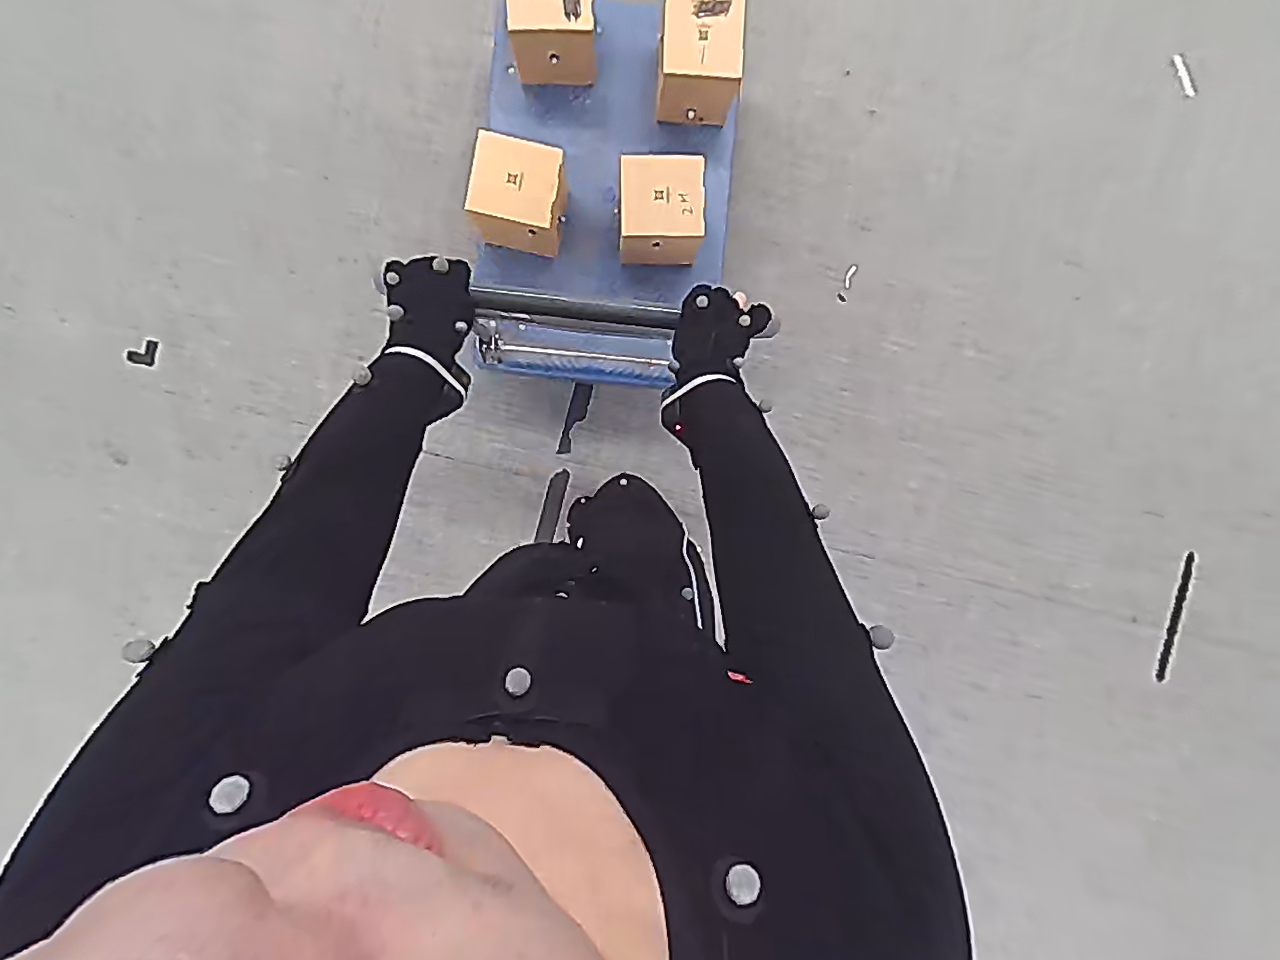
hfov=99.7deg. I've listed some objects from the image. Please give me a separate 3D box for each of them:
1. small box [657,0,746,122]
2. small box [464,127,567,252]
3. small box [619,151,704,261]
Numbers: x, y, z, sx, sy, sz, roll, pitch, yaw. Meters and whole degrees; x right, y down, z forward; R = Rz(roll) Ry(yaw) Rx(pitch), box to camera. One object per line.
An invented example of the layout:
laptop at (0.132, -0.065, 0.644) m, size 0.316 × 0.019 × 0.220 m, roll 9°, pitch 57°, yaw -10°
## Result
small box at (0.126, -0.922, 1.174) m, size 0.168 × 0.176 × 0.179 m, roll 2°, pitch 94°, yaw -3°
small box at (-0.261, -0.618, 1.172) m, size 0.179 × 0.176 × 0.168 m, roll 11°, pitch 92°, yaw -5°
small box at (0.042, -0.593, 1.188) m, size 0.179 × 0.176 × 0.168 m, roll 0°, pitch 93°, yaw -3°
